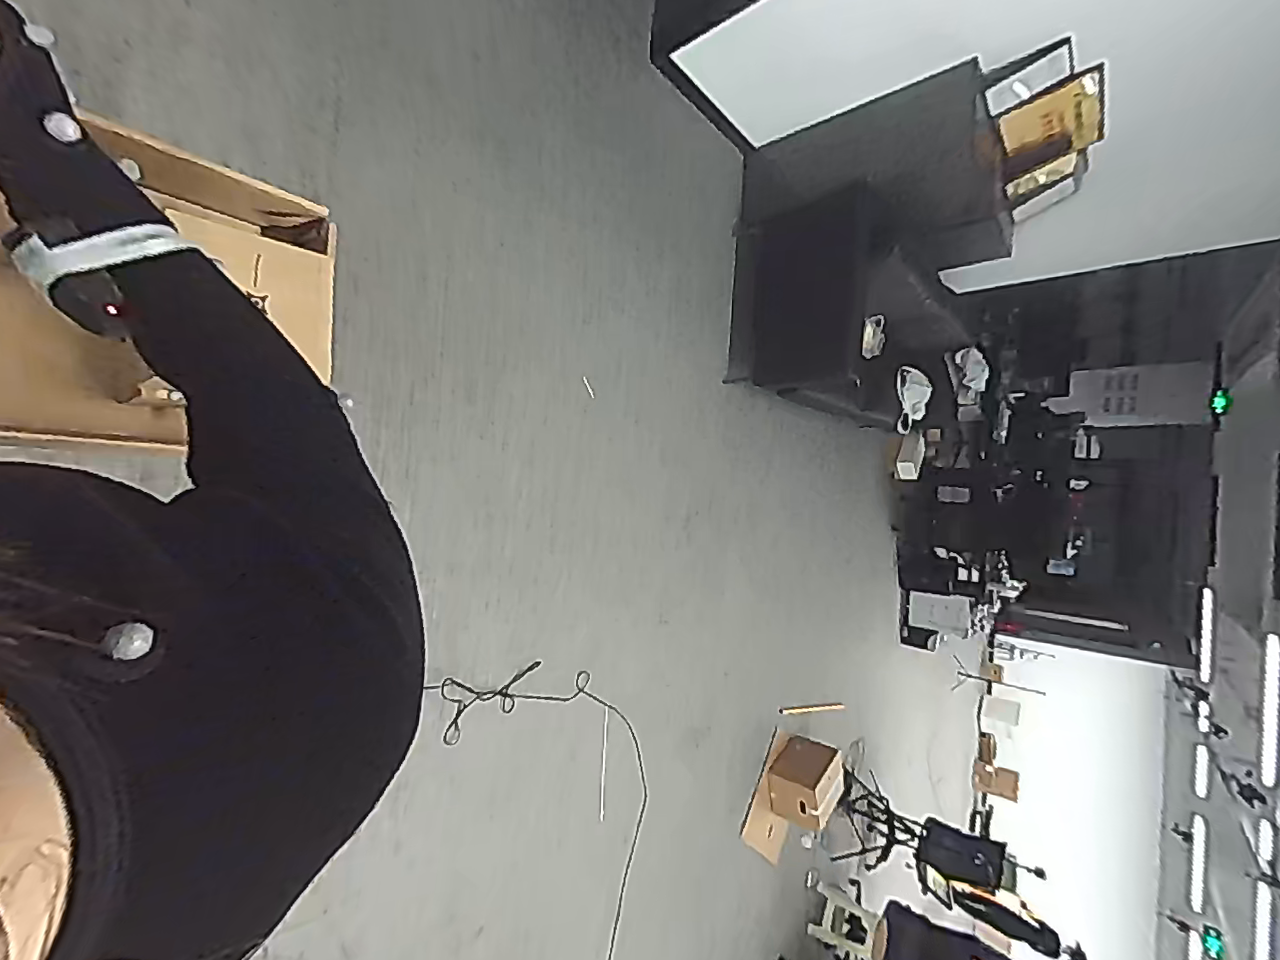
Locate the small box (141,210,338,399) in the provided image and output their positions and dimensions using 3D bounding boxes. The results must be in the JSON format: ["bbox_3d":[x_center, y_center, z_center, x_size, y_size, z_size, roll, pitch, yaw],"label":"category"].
[{"bbox_3d":[-0.503,-0.200,0.680,0.168,0.176,0.179,0,91,-50],"label":"small box"}]
